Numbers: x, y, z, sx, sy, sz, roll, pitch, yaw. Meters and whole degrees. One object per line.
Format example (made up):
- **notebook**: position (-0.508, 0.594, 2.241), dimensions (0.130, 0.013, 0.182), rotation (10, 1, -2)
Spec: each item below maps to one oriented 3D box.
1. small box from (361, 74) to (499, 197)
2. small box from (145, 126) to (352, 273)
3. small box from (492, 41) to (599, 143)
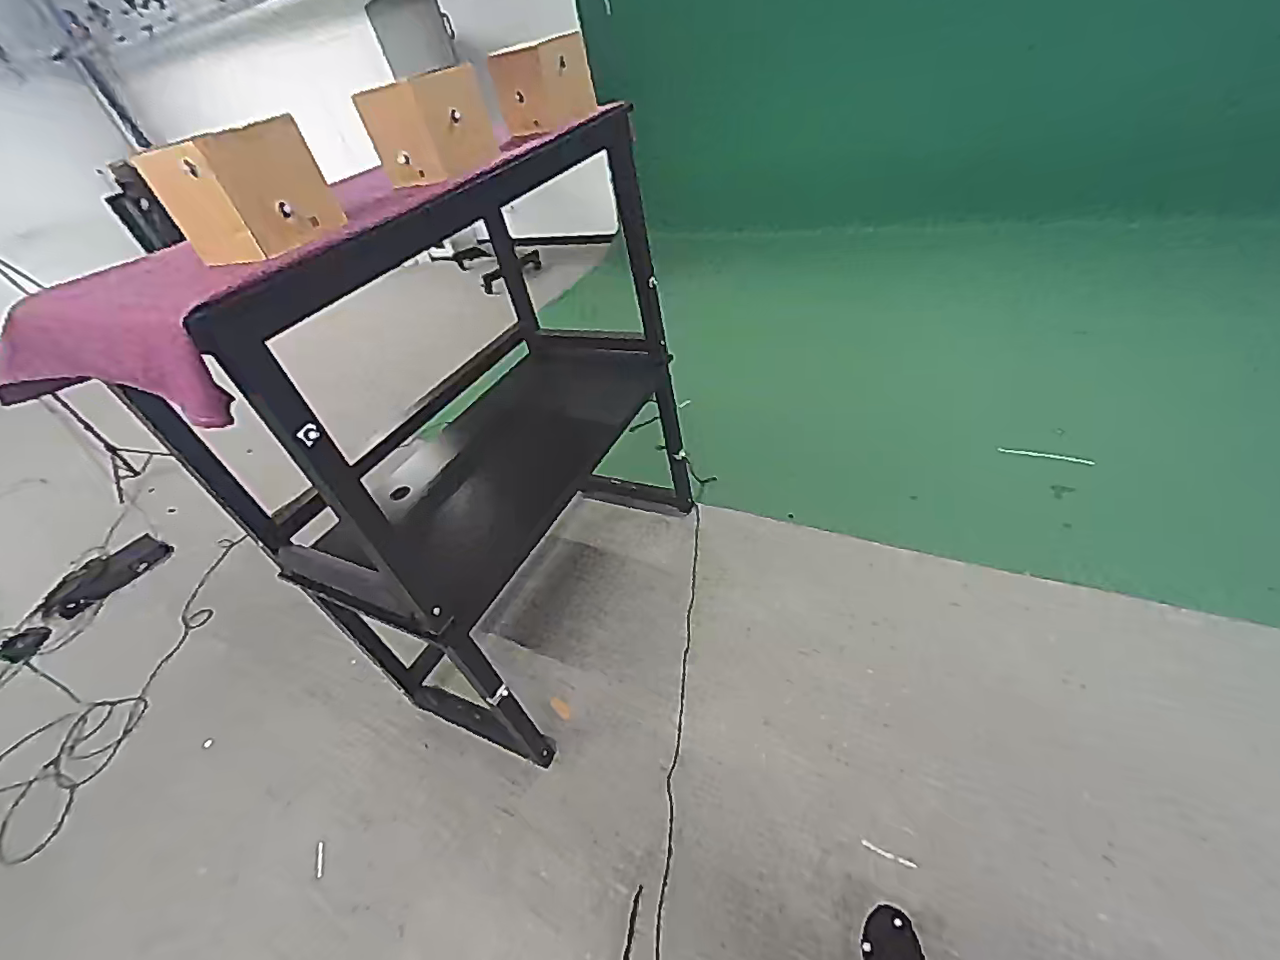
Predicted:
- **small box**: position (-0.411, -0.693, 1.097), dimensions (0.168, 0.176, 0.179), rotation (10, 47, 29)
- **small box**: position (-0.617, -0.445, 0.871), dimensions (0.179, 0.176, 0.168), rotation (8, 44, 25)
- **small box**: position (-0.223, -0.944, 1.330), dimensions (0.168, 0.176, 0.179), rotation (16, 49, 30)
